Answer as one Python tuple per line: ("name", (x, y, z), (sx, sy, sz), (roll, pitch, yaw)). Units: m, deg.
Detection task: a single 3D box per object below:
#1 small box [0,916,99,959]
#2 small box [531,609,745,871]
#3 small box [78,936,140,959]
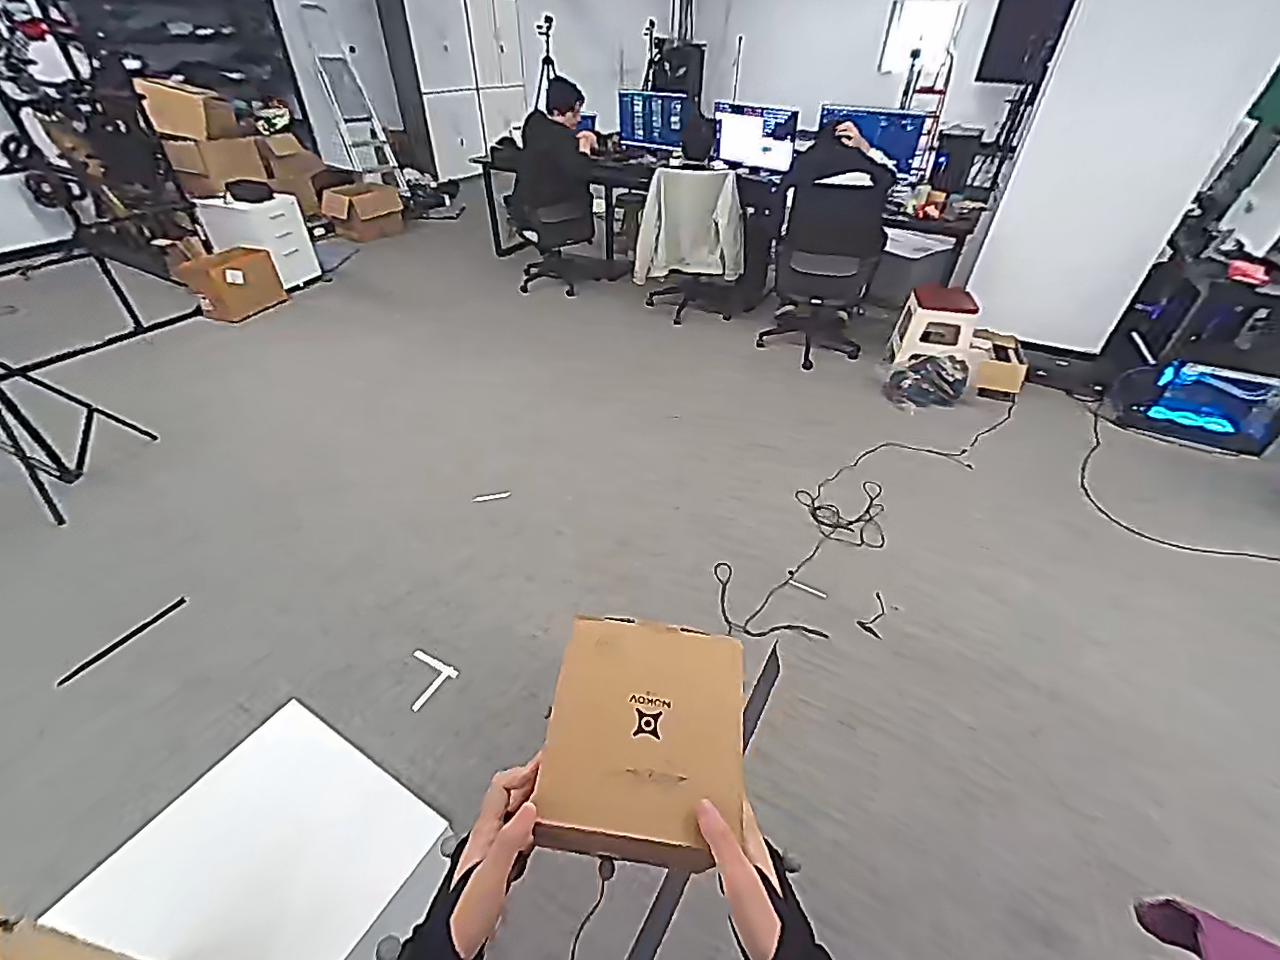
("small box", (-0.582, 0.513, 0.459), (0.179, 0.176, 0.168), (20, 43, 22))
("small box", (-0.002, 0.250, 0.517), (0.168, 0.176, 0.179), (9, 50, 0))
("small box", (-0.586, 0.640, 0.563), (0.179, 0.176, 0.168), (20, 43, 24))
